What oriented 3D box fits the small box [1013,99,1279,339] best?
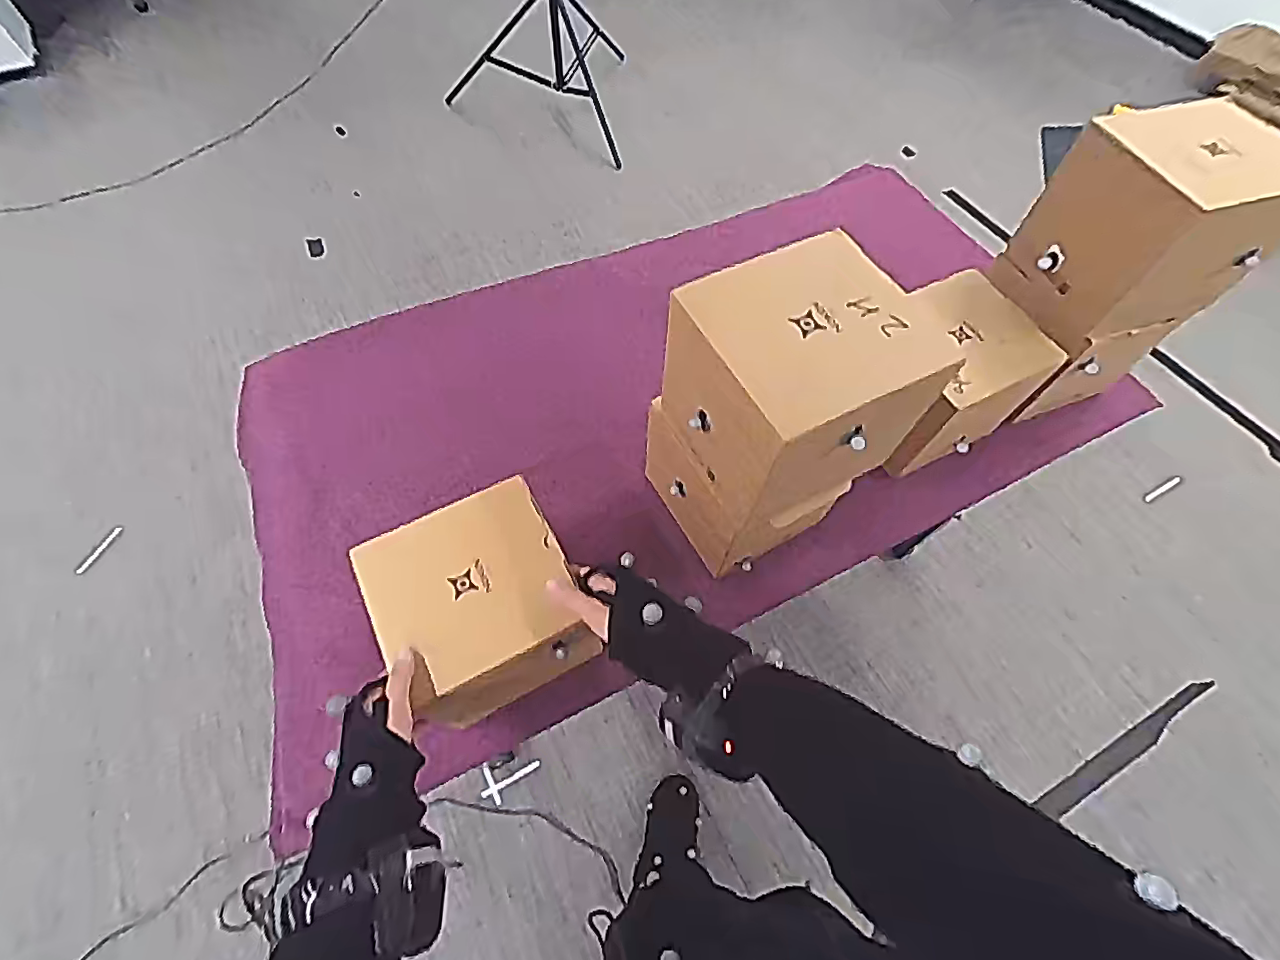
[{"bbox_3d":[0.584,-0.288,0.613,0.179,0.176,0.168,-14,61,-7],"label":"small box"}]

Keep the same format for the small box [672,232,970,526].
[{"bbox_3d":[0.139,-0.083,0.493,0.179,0.176,0.168,-24,66,-14],"label":"small box"}]

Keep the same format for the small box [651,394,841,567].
[{"bbox_3d":[0.125,-0.015,0.643,0.168,0.176,0.179,-26,65,-15],"label":"small box"}]

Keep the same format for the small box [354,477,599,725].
[{"bbox_3d":[-0.154,0.132,0.559,0.179,0.176,0.168,-26,65,-15],"label":"small box"}]
